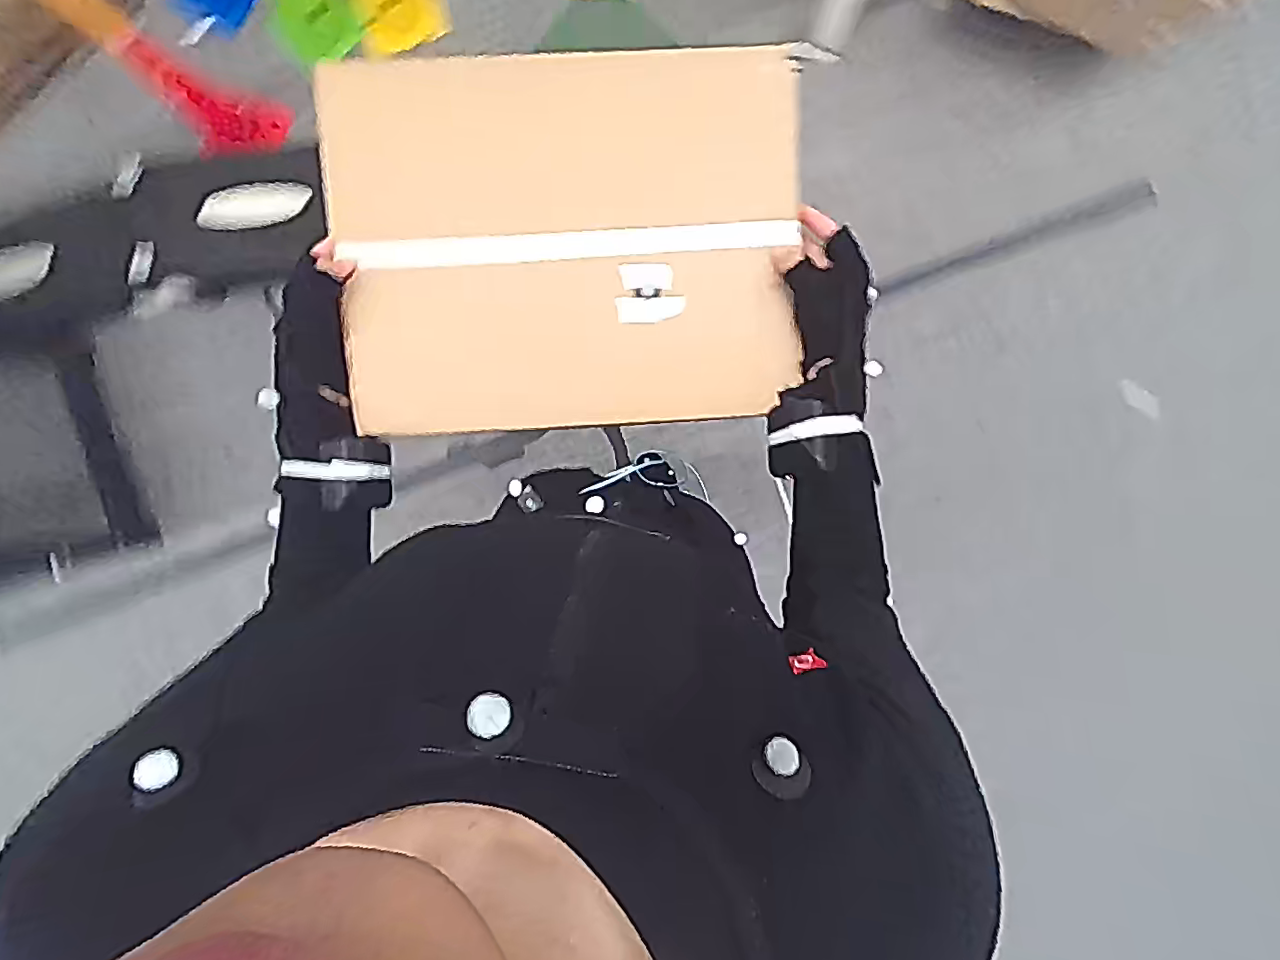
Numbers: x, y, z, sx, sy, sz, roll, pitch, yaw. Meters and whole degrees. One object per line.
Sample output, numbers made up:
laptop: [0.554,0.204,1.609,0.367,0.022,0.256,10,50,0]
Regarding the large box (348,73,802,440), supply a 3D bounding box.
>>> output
large box: [-0.058,-0.216,0.640,0.408,0.320,0.320,-2,97,-2]
